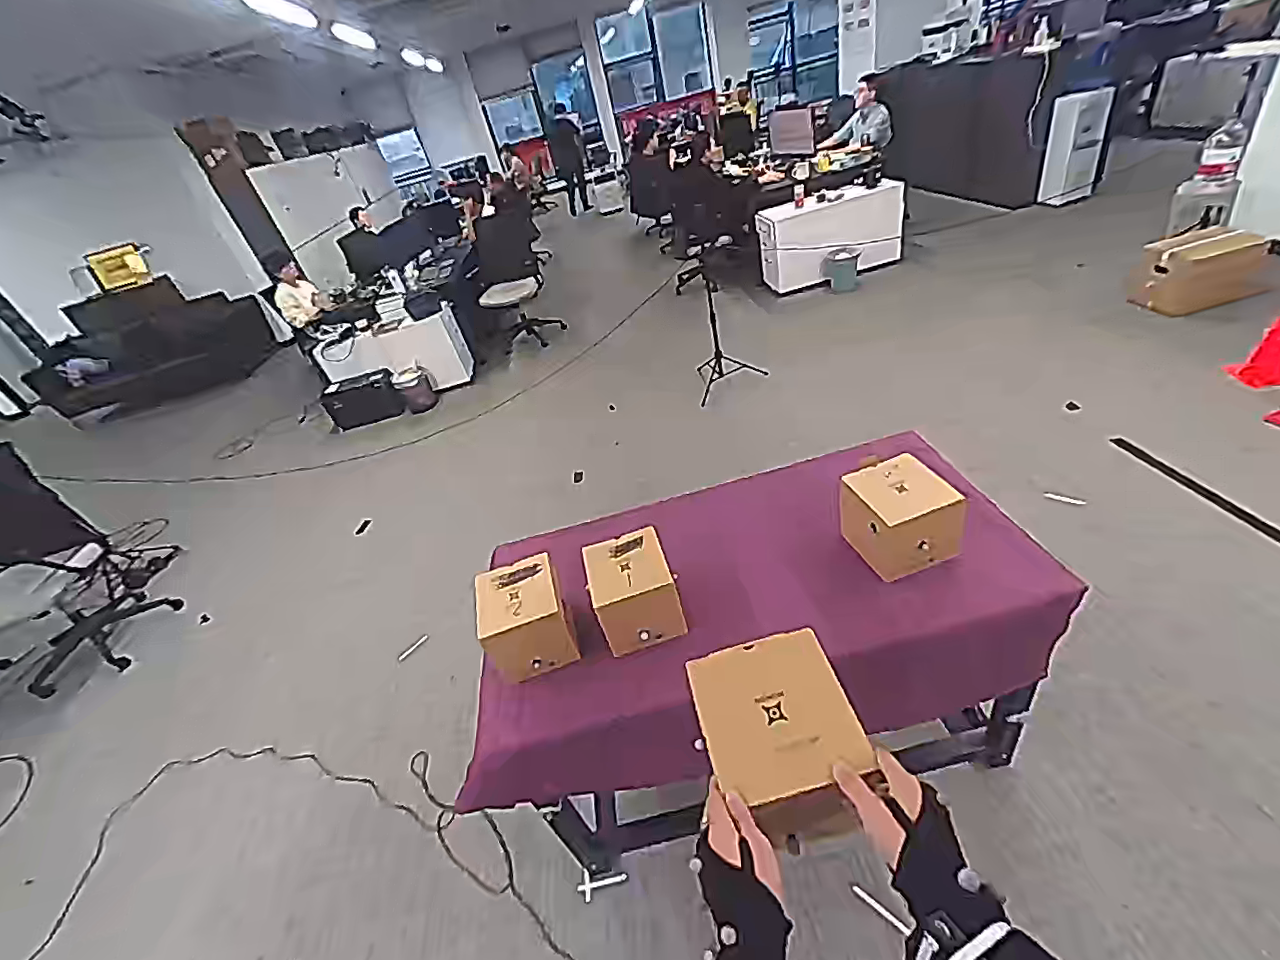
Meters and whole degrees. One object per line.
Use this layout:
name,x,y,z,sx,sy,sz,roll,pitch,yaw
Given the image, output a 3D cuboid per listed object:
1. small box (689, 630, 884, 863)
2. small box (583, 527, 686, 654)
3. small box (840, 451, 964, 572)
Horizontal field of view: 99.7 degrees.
small box,0.165,0.317,0.649,0.168,0.176,0.179,-15,38,0
small box,-0.012,0.235,1.154,0.168,0.176,0.179,-18,37,-2
small box,0.546,0.073,1.144,0.168,0.176,0.179,-20,36,-4
